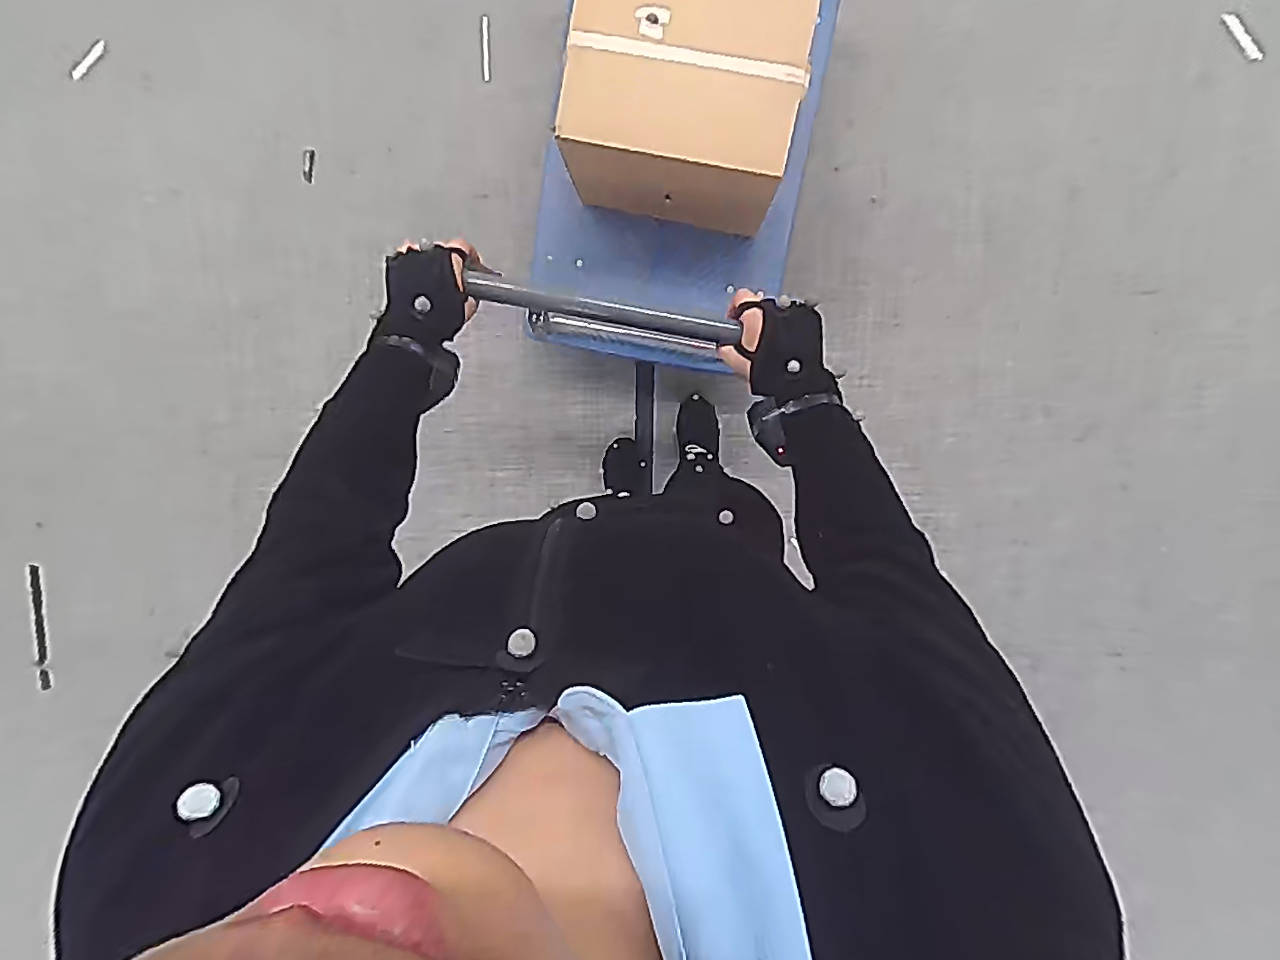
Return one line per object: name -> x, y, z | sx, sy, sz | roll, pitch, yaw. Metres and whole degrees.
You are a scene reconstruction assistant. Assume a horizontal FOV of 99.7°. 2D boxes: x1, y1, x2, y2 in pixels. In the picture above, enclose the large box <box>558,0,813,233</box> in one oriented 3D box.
large box -> 0.087, -0.728, 1.082 | 0.408, 0.320, 0.320 | 11, 96, 3
